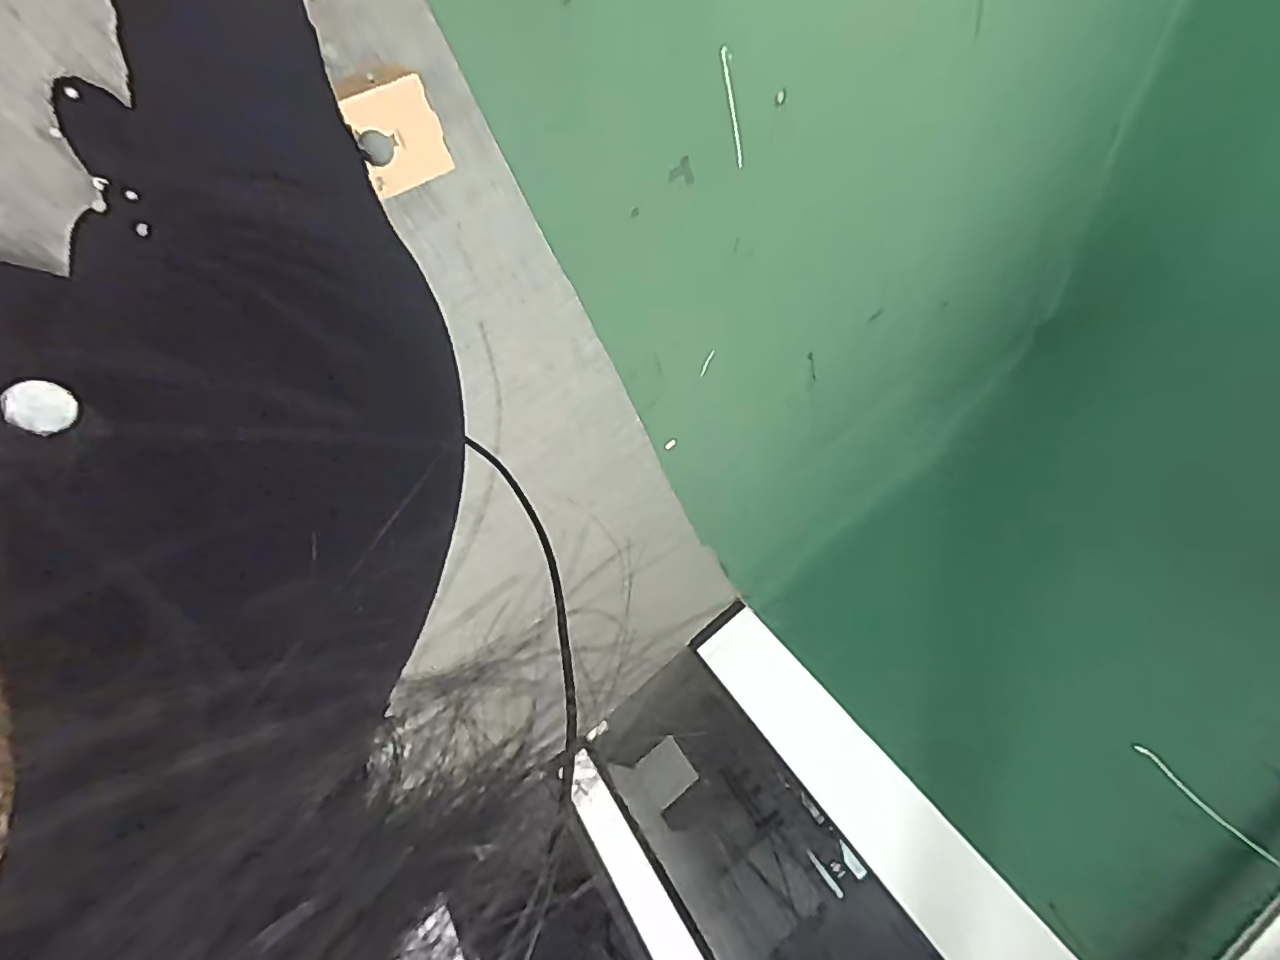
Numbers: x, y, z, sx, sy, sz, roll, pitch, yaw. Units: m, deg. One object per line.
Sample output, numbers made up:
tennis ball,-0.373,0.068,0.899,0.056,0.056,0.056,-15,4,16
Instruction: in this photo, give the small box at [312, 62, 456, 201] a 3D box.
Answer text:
small box,-0.494,-0.678,1.046,0.179,0.176,0.168,-32,143,-14
